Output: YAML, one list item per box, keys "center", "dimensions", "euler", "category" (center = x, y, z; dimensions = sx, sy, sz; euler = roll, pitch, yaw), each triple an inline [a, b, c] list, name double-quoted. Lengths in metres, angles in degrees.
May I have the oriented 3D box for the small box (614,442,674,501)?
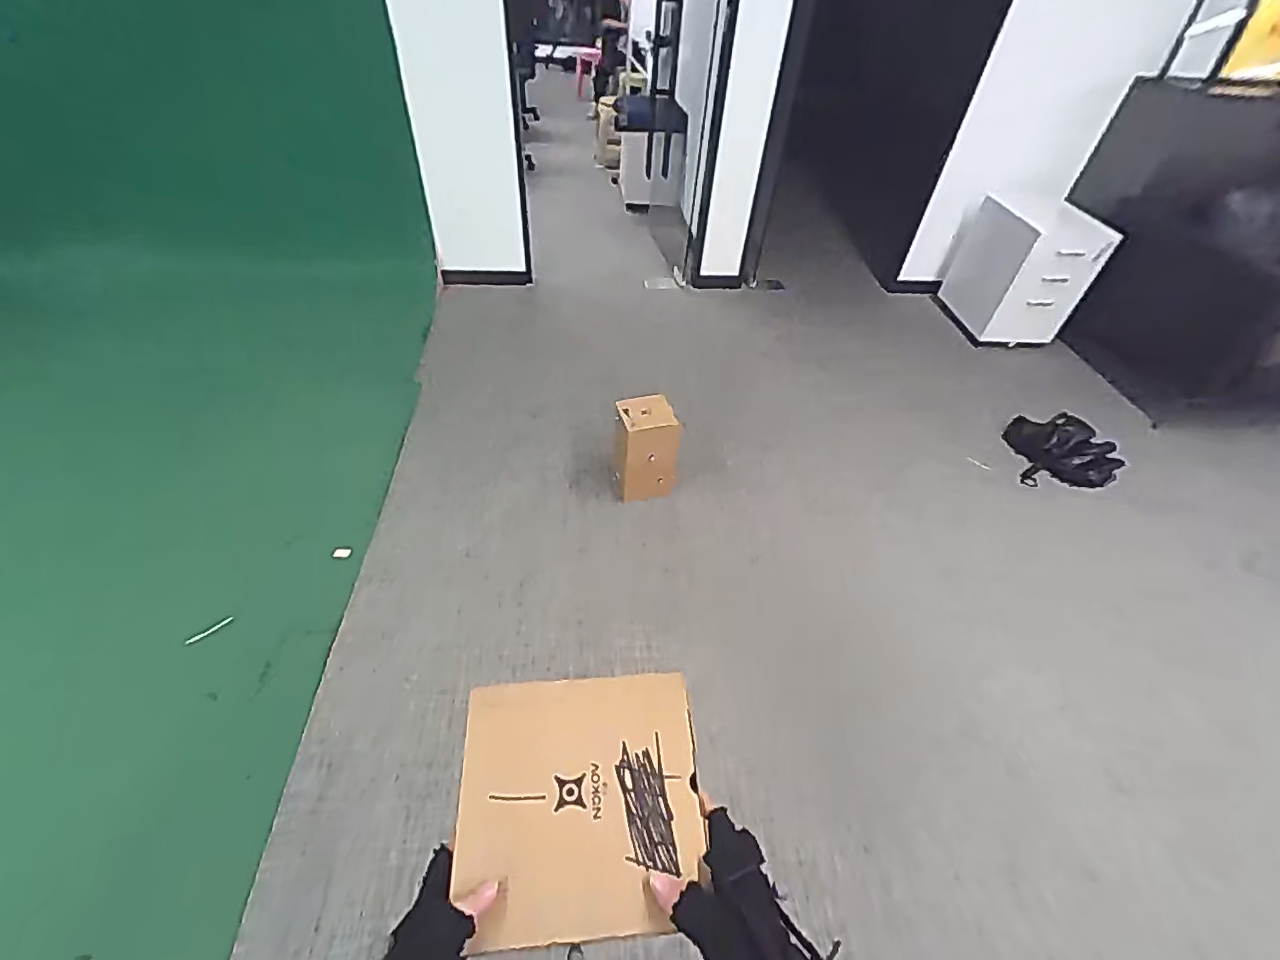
- center: [0.010, -0.047, 1.953]
  dimensions: [0.179, 0.176, 0.168]
  euler: [-12, 47, -14]
  category: "small box"

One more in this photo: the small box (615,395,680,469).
- center: [0.019, -0.162, 1.840]
  dimensions: [0.179, 0.176, 0.168]
  euler: [-13, 49, -15]
  category: "small box"

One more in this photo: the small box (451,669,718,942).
- center: [-0.044, 0.274, 0.460]
  dimensions: [0.179, 0.176, 0.168]
  euler: [-2, 51, -5]
  category: "small box"
